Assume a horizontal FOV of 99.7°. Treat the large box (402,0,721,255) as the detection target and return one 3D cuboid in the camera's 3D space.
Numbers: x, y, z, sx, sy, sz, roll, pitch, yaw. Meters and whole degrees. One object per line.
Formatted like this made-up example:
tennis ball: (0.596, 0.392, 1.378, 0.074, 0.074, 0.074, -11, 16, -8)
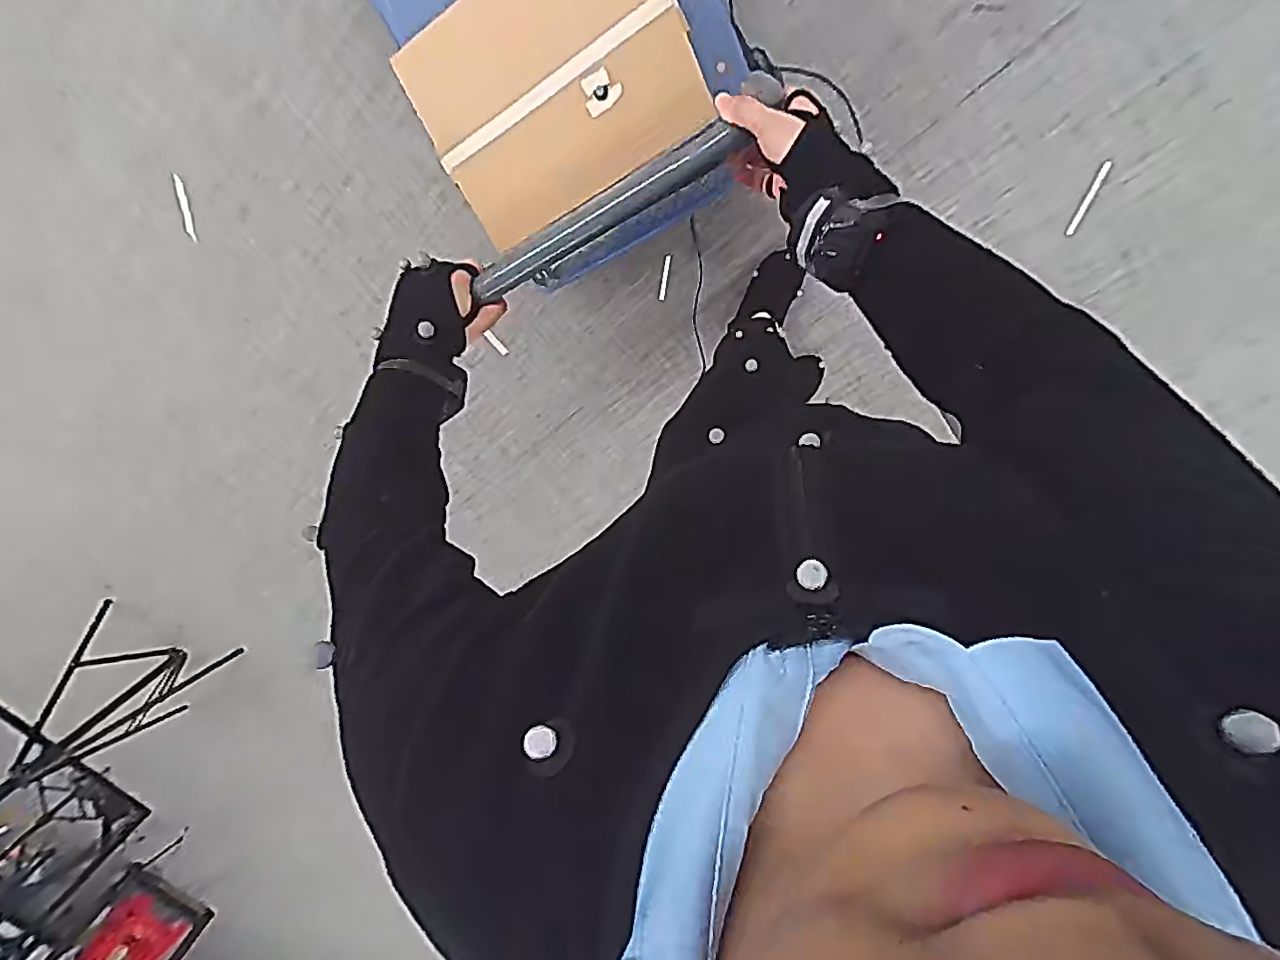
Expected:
large box: (-0.104, -0.637, 0.938, 0.408, 0.320, 0.320, -23, 109, 19)
